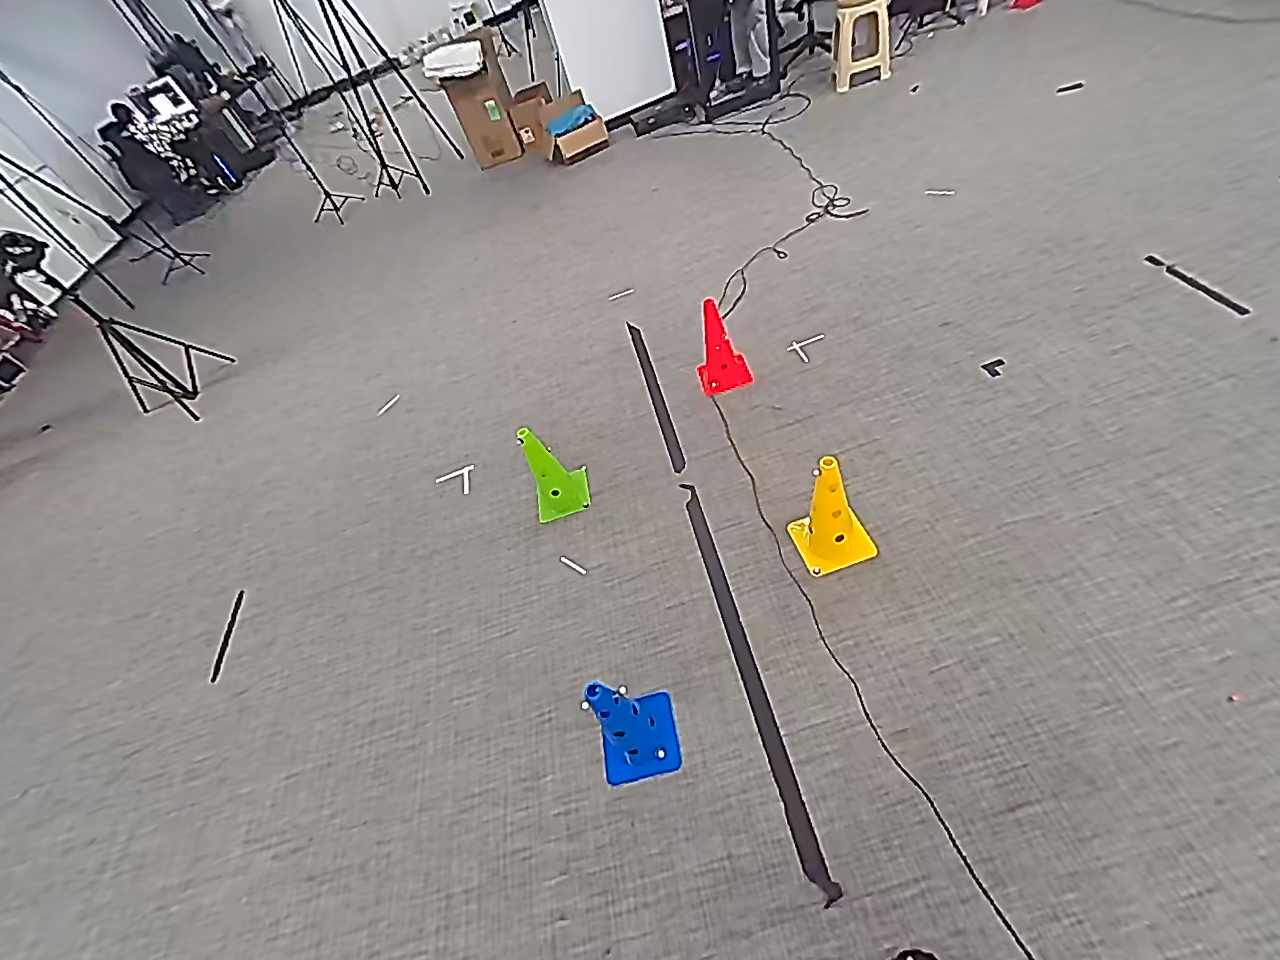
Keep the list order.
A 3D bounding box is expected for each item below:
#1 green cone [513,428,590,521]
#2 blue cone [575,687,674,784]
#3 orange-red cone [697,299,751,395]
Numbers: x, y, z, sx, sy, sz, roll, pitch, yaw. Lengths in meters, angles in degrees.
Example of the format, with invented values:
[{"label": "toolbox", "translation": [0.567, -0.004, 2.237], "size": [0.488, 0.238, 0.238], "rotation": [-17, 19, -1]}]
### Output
[{"label": "green cone", "translation": [-0.341, -0.052, 1.902], "size": [0.202, 0.368, 0.200], "rotation": [-20, 47, 6]}, {"label": "blue cone", "translation": [-0.058, 0.571, 1.288], "size": [0.192, 0.380, 0.193], "rotation": [-17, 47, 8]}, {"label": "orange-red cone", "translation": [0.293, -0.534, 2.072], "size": [0.199, 0.360, 0.198], "rotation": [-15, 49, 7]}]
